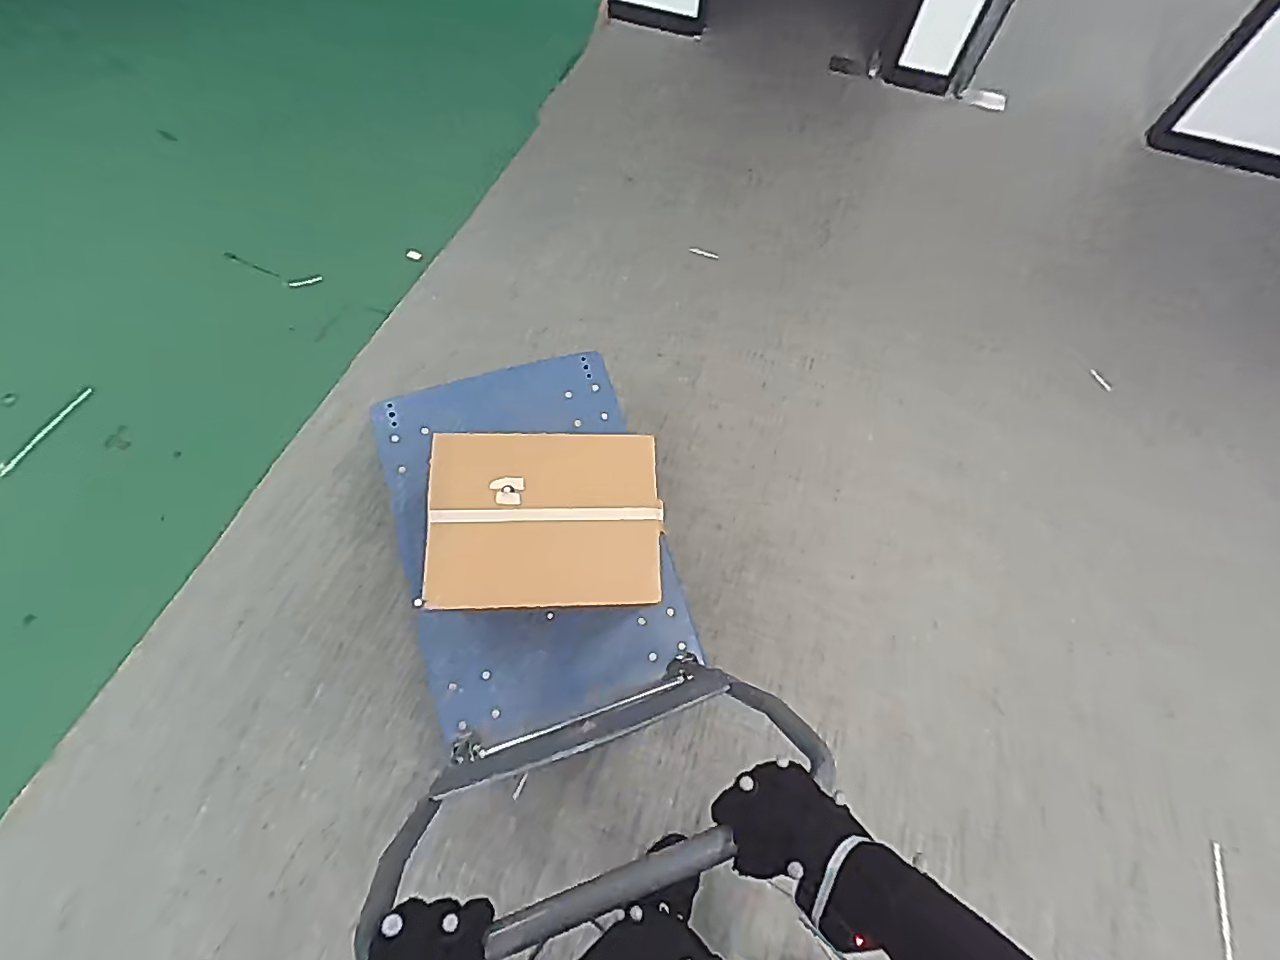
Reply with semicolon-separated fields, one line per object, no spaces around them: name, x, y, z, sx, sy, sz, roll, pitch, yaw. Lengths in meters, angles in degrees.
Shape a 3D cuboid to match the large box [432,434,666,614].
large box;-0.170;0.105;1.102;0.408;0.320;0.320;-1;75;-5
